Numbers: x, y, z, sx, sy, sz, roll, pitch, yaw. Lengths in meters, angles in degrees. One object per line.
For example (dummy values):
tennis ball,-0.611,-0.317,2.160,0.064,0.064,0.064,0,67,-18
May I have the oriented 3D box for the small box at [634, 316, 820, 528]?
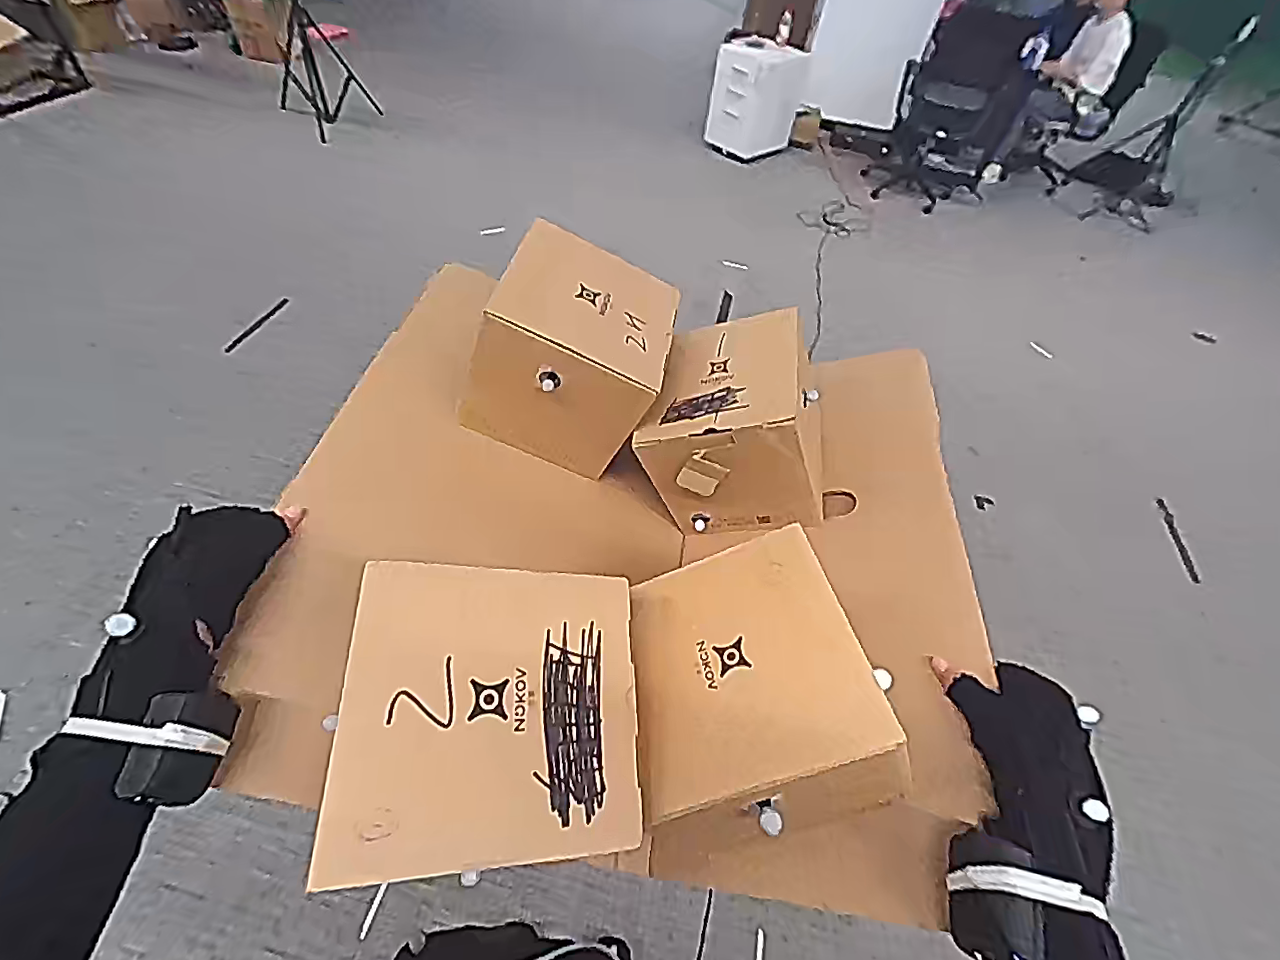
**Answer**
small box,0.113,-0.055,0.627,0.168,0.176,0.179,-6,48,24
